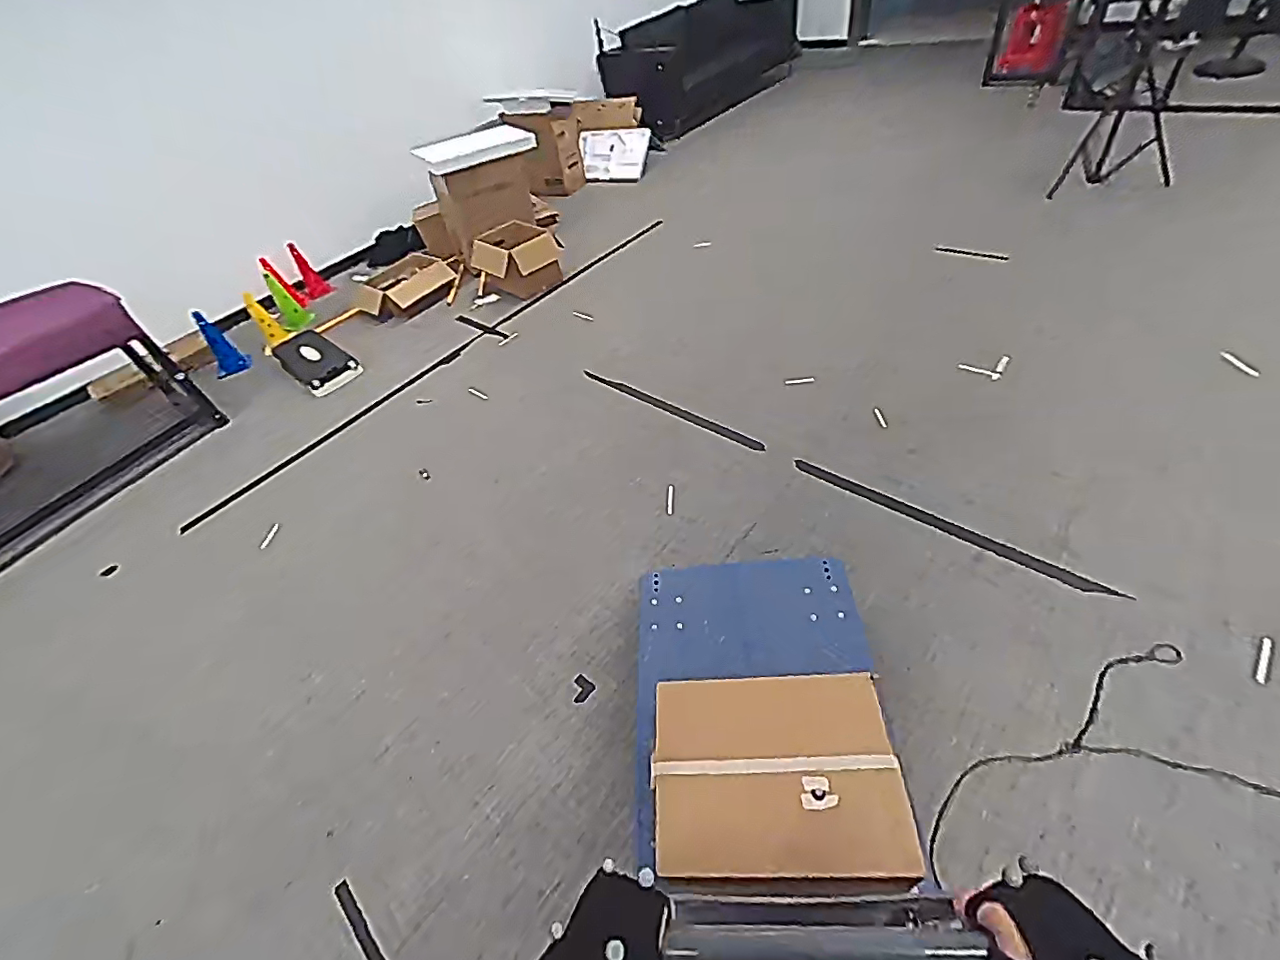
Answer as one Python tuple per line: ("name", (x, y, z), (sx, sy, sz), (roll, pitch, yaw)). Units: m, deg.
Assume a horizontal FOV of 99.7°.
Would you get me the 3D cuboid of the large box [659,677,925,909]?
("large box", (0.251, 0.599, 1.029), (0.408, 0.320, 0.320), (-5, 46, 7))
